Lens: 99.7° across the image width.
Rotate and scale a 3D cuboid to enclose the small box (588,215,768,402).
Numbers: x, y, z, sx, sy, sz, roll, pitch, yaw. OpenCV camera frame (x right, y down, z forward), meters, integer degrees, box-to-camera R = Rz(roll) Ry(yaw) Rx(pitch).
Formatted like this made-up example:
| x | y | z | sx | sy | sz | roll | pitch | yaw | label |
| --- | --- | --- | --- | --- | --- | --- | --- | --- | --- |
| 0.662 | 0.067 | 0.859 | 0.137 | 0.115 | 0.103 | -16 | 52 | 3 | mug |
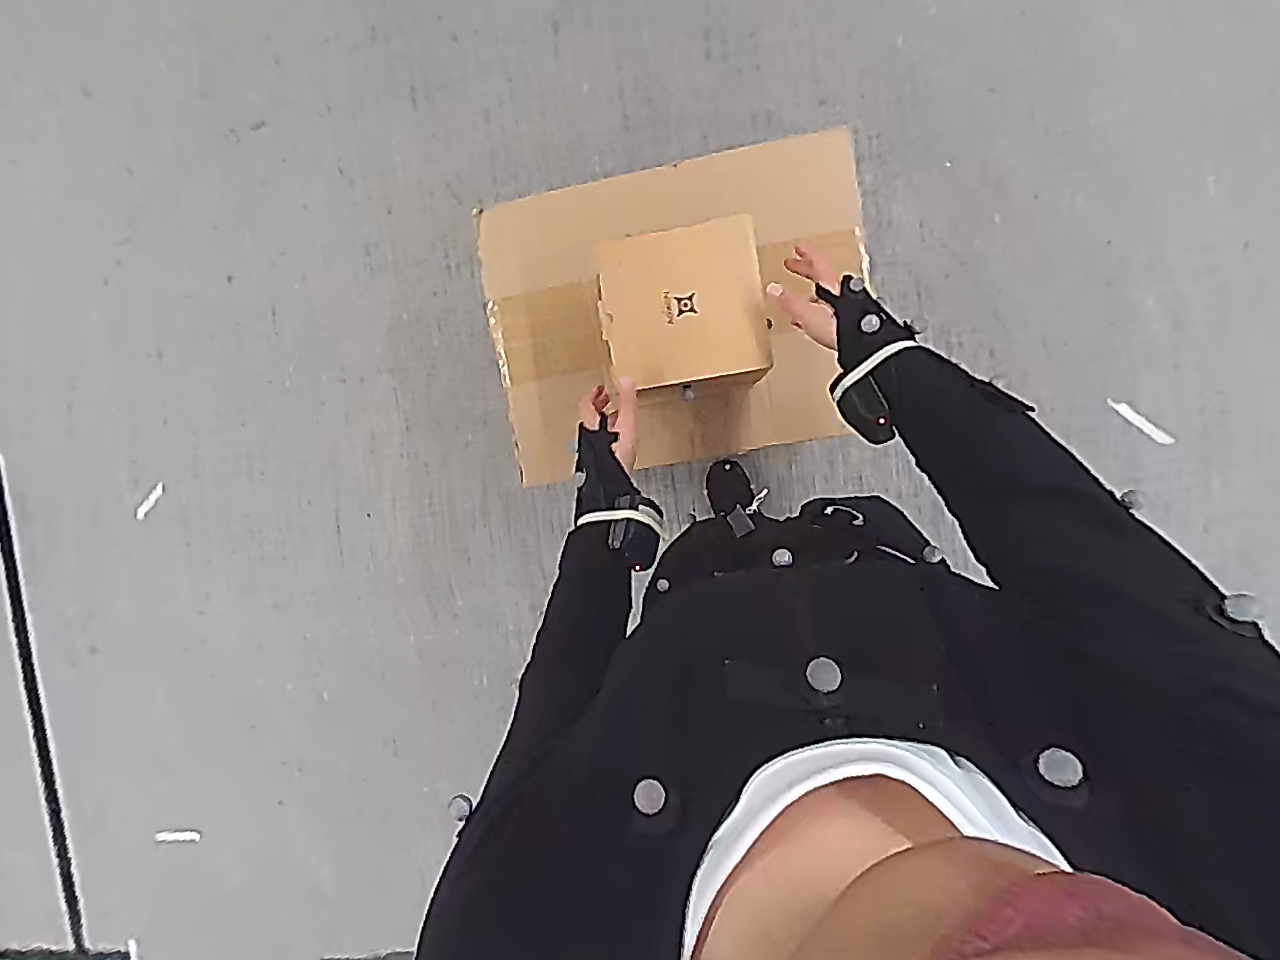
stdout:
| x | y | z | sx | sy | sz | roll | pitch | yaw | label |
| --- | --- | --- | --- | --- | --- | --- | --- | --- | --- |
| 0.049 | -0.194 | 0.661 | 0.179 | 0.176 | 0.168 | -9 | 93 | 8 | small box |
